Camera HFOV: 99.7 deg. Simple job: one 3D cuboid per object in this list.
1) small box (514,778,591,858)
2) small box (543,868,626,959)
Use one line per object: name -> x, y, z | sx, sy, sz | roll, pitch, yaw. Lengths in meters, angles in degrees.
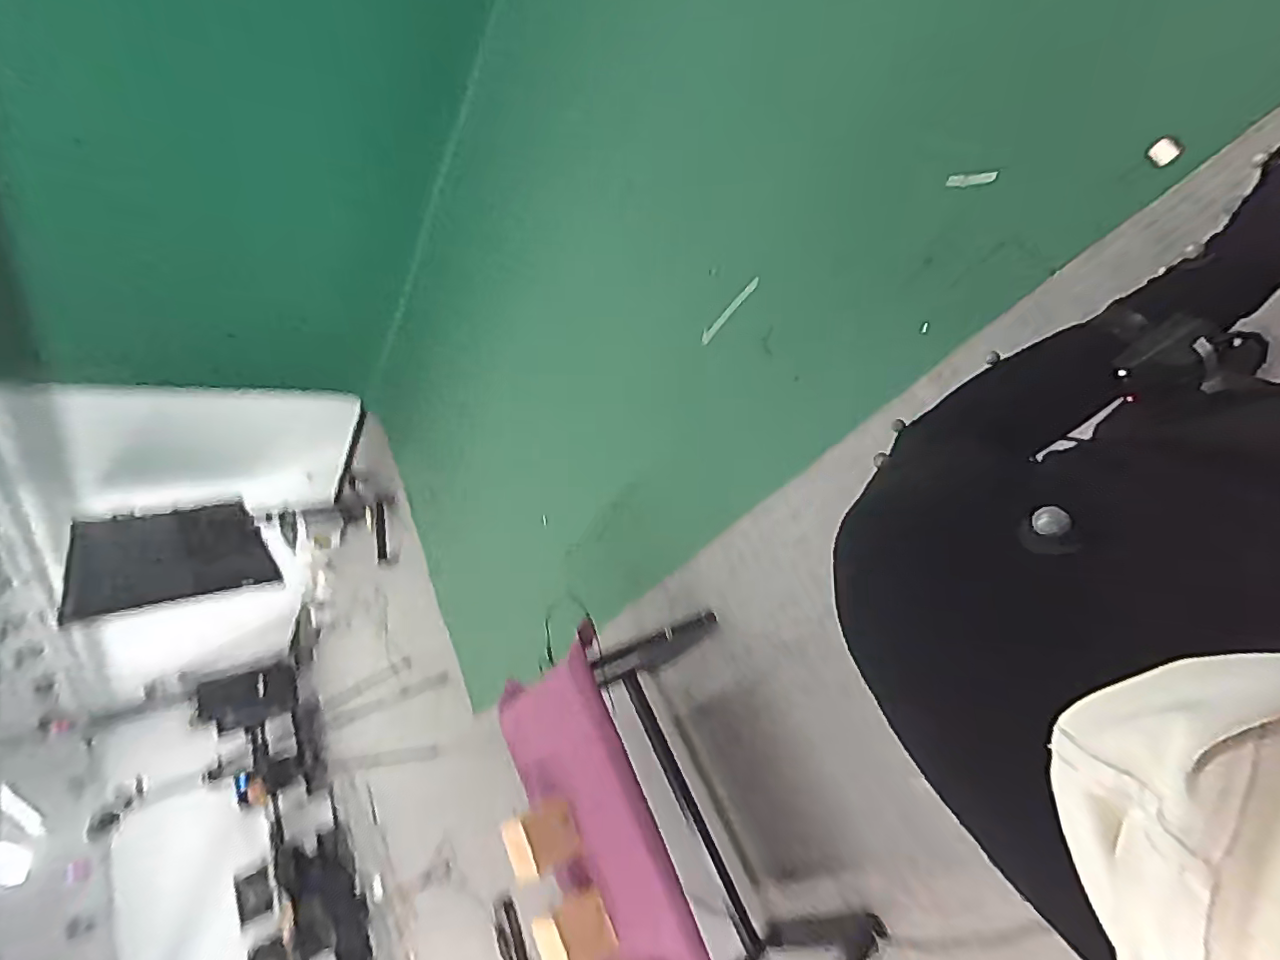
small box -> -0.290, 1.120, 1.796 | 0.179, 0.176, 0.168 | -46, 63, 41
small box -> -0.173, 1.358, 1.700 | 0.179, 0.176, 0.168 | -47, 61, 39
